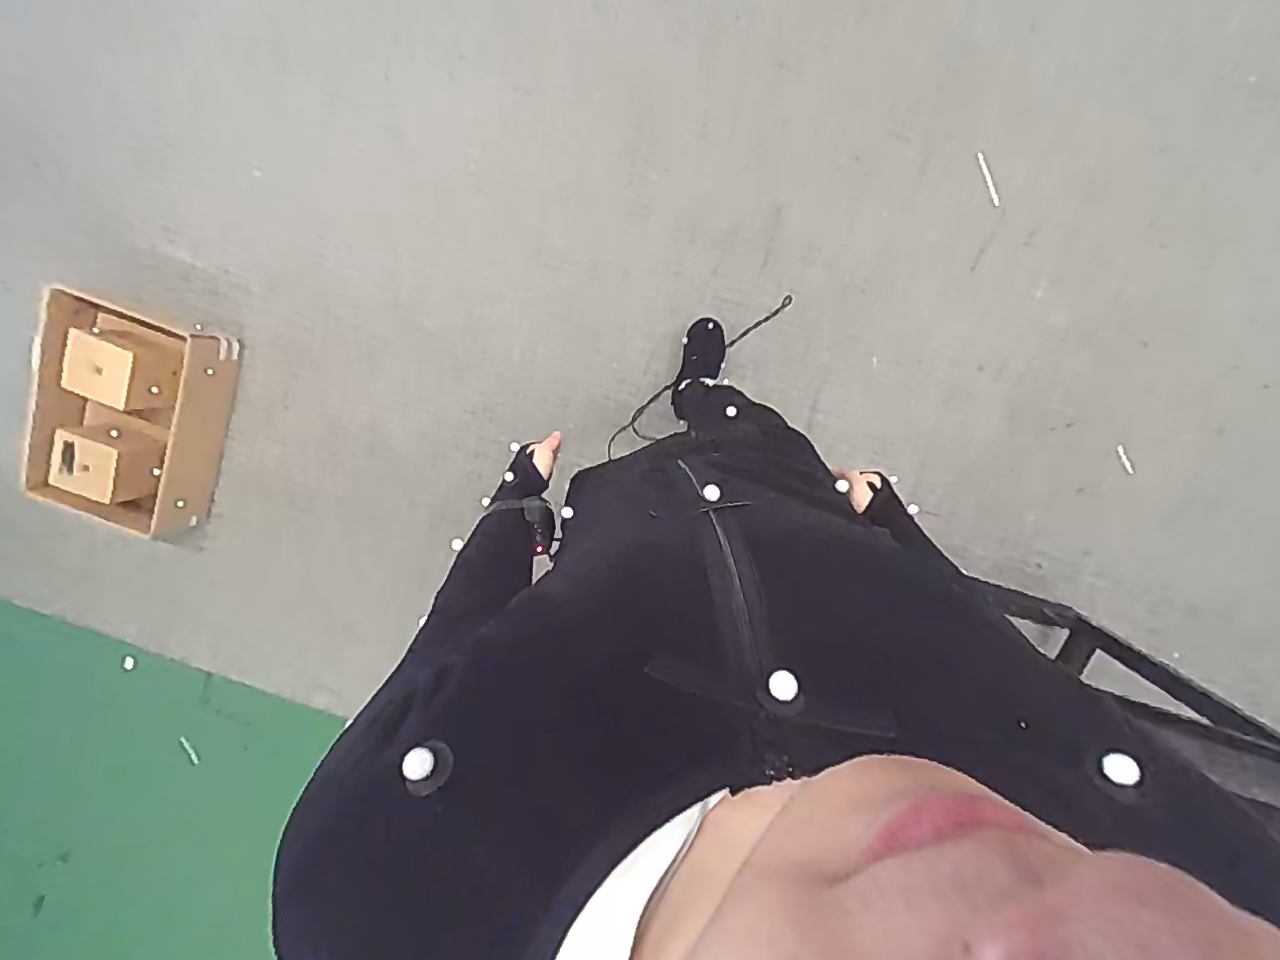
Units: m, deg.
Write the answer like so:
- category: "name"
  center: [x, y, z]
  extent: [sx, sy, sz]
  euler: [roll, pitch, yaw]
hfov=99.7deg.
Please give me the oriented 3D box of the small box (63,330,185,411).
- category: "small box"
  center: [-1.426, -0.306, 1.505]
  extent: [0.179, 0.176, 0.168]
  euler: [22, 102, -2]
